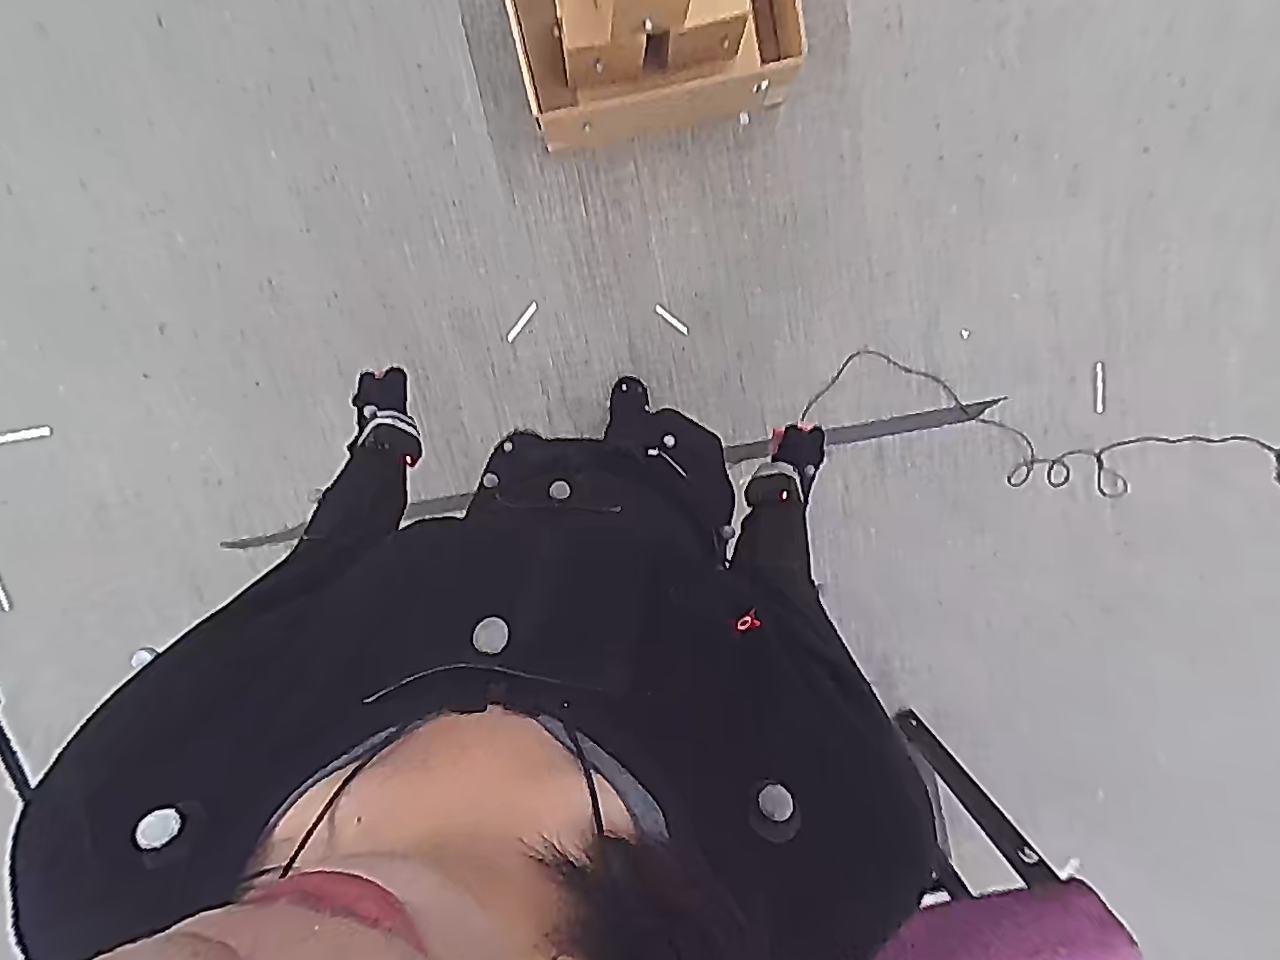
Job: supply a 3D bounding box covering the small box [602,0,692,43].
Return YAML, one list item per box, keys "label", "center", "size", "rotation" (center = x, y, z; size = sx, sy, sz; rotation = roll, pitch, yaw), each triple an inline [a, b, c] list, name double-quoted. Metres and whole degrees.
- label: "small box"
  center: [0.004, -1.000, 1.039]
  size: [0.168, 0.176, 0.179]
  rotation: [-15, 101, -2]
